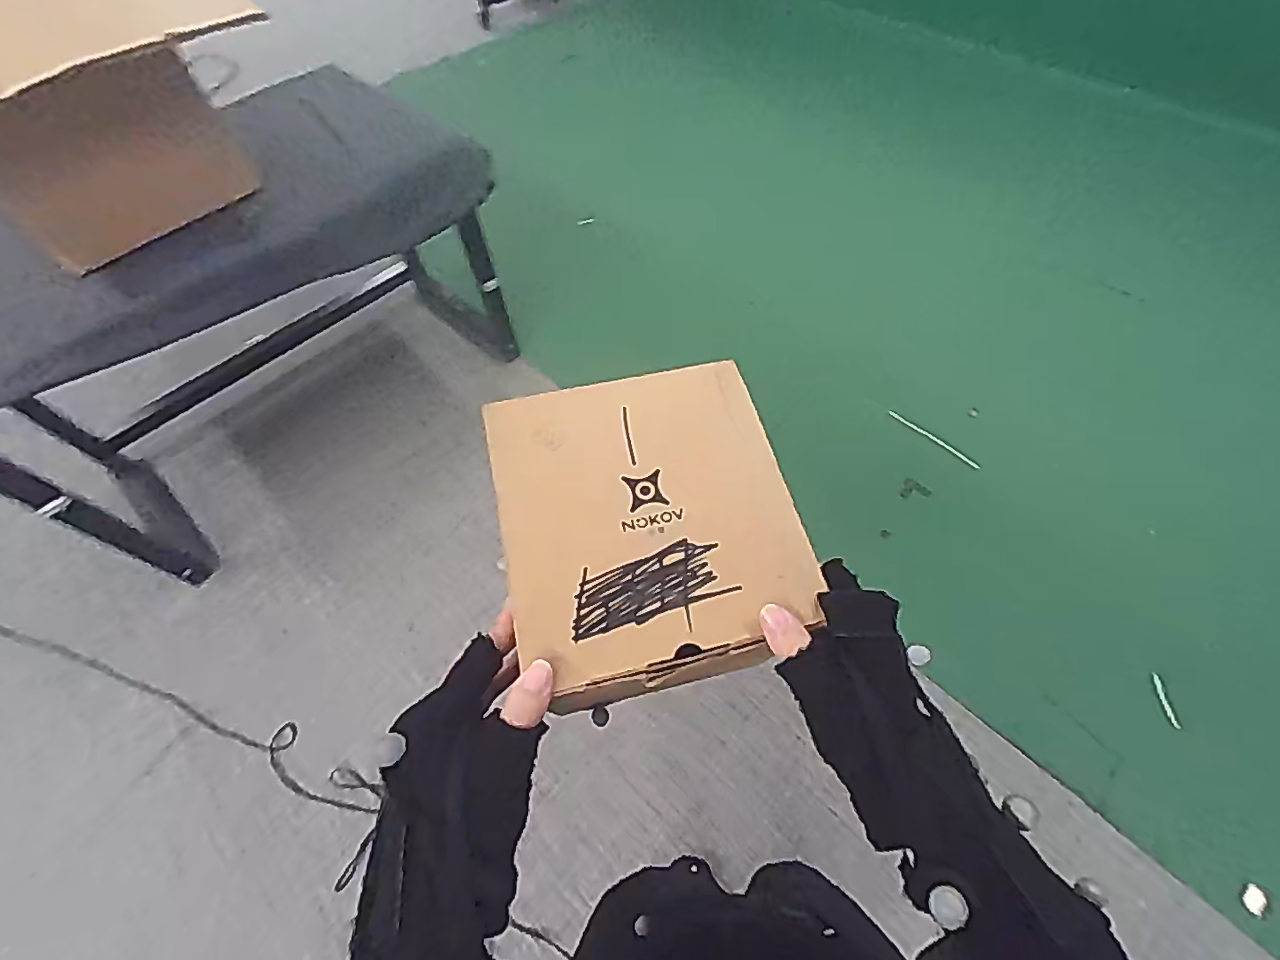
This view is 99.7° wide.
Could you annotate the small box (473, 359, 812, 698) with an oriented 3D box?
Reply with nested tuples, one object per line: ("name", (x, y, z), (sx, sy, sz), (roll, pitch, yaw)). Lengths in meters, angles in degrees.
("small box", (-0.007, 0.047, 0.384), (0.168, 0.176, 0.179), (-12, 65, -8))
